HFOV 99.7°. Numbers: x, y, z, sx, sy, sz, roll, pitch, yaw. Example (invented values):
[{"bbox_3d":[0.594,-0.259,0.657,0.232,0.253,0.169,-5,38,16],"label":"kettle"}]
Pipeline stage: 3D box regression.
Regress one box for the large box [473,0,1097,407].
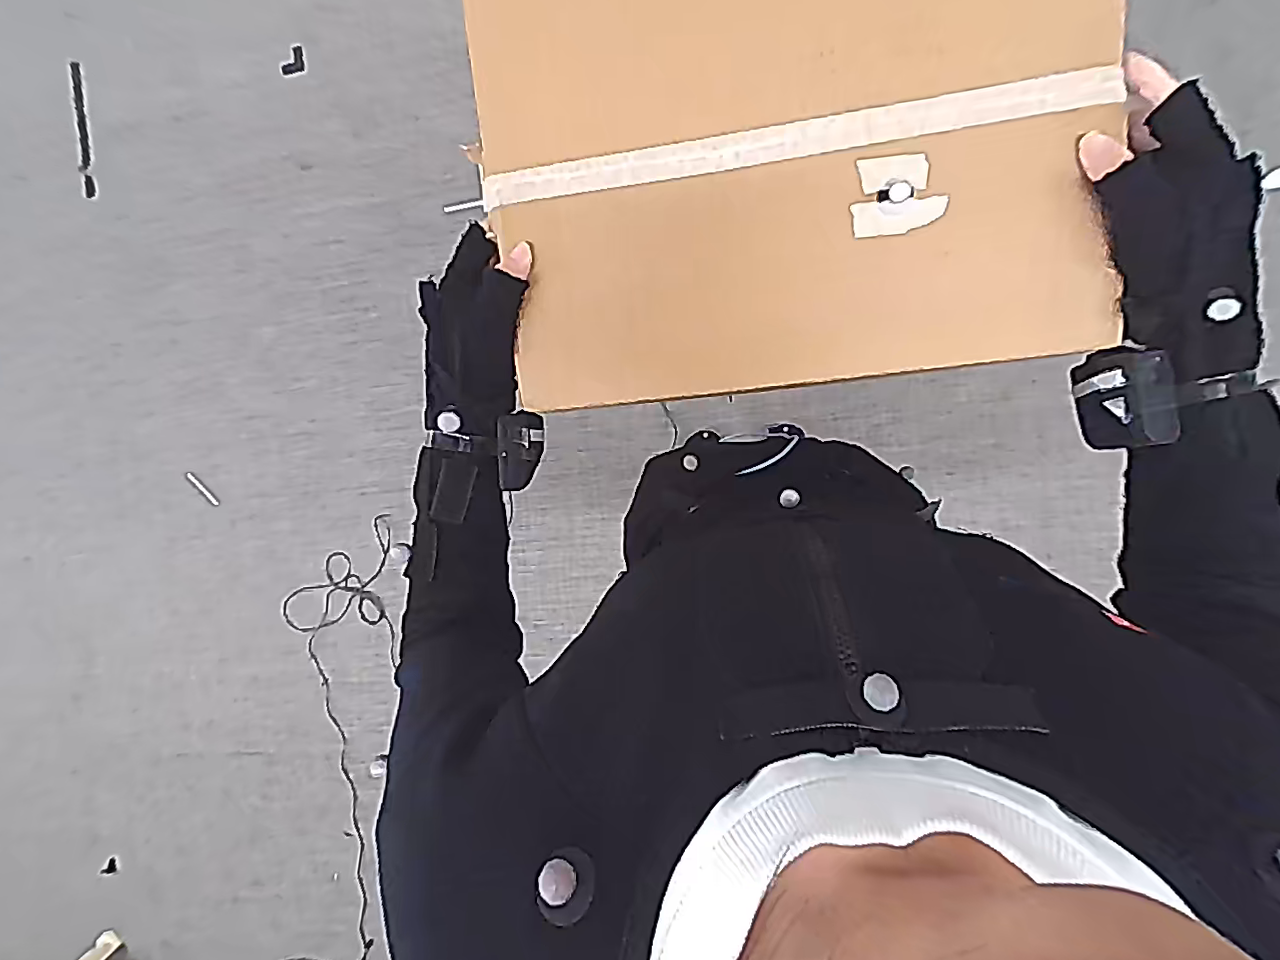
[{"bbox_3d":[0.109,-0.250,0.517,0.408,0.320,0.320,-6,98,7],"label":"large box"}]
